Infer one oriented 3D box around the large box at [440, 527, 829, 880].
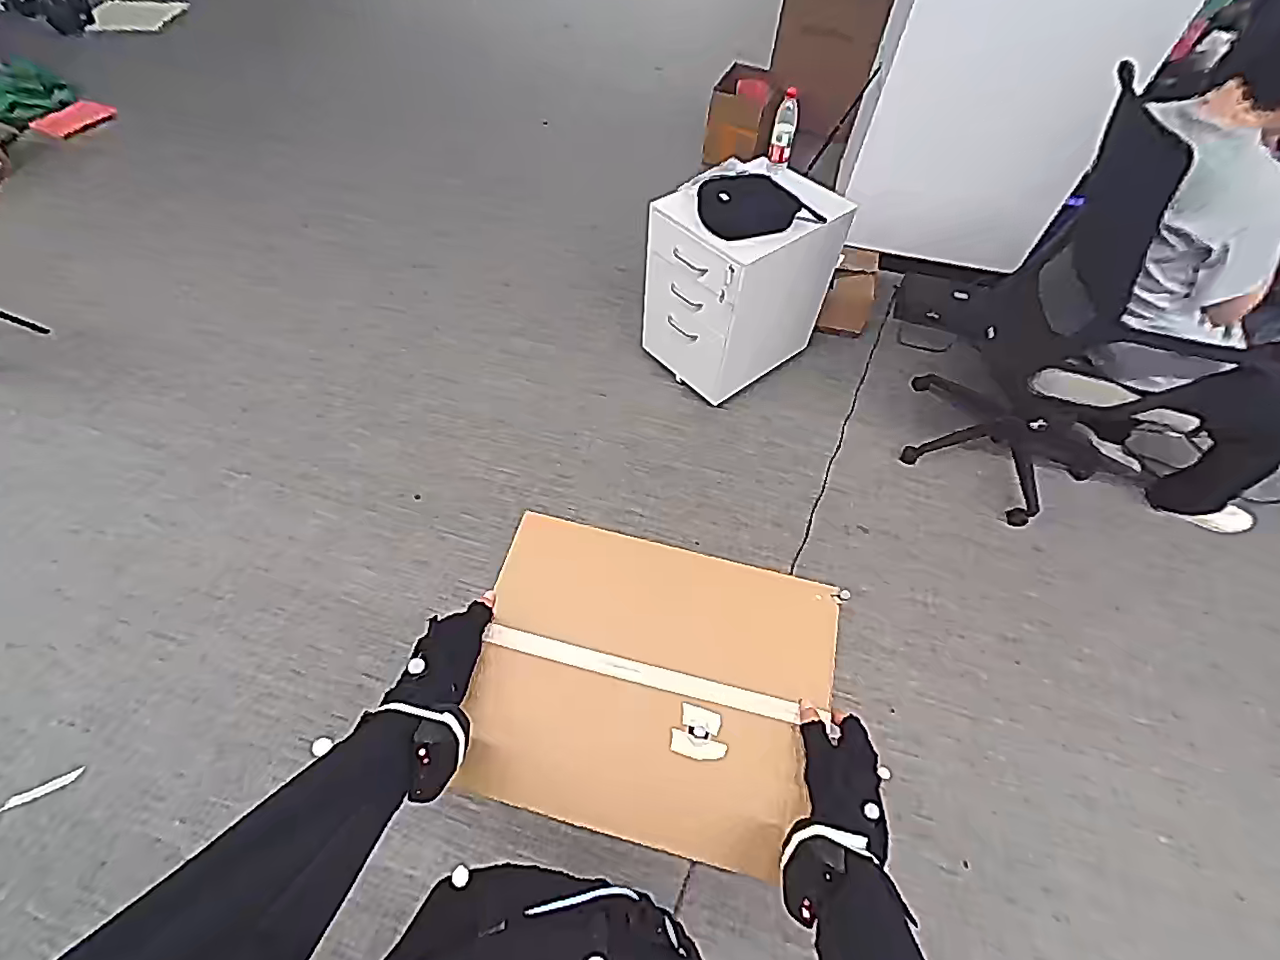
[{"bbox_3d":[0.004,0.302,0.756,0.408,0.320,0.320,13,63,4],"label":"large box"}]
